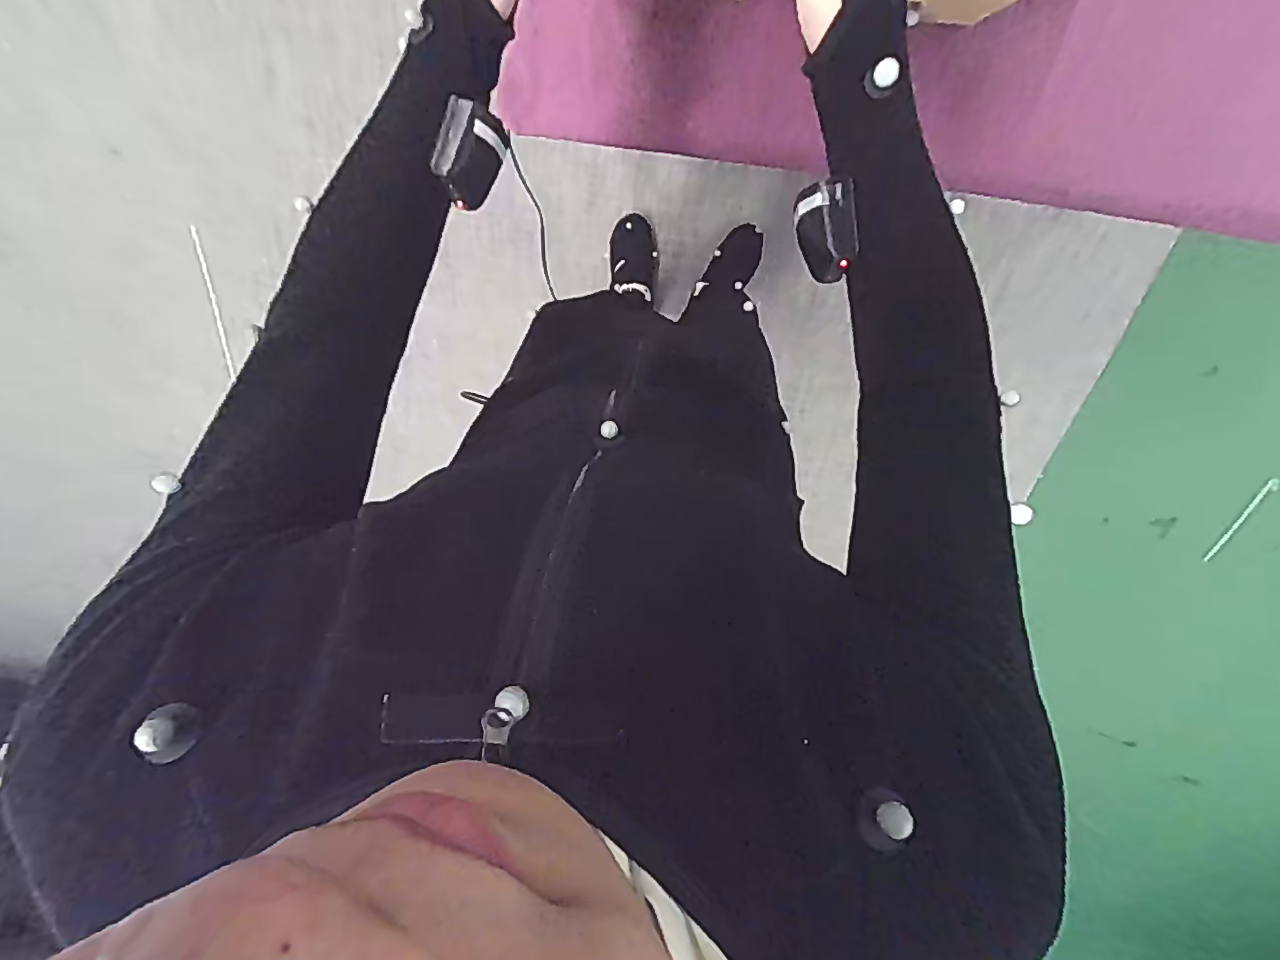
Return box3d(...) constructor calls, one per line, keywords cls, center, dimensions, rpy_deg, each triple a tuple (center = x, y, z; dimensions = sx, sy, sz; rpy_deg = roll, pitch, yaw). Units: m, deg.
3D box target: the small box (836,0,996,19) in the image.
box3d(cls="small box", center=(0.288, -0.559, 0.491), dimensions=(0.168, 0.176, 0.179), rpy_deg=(6, 120, 0))
